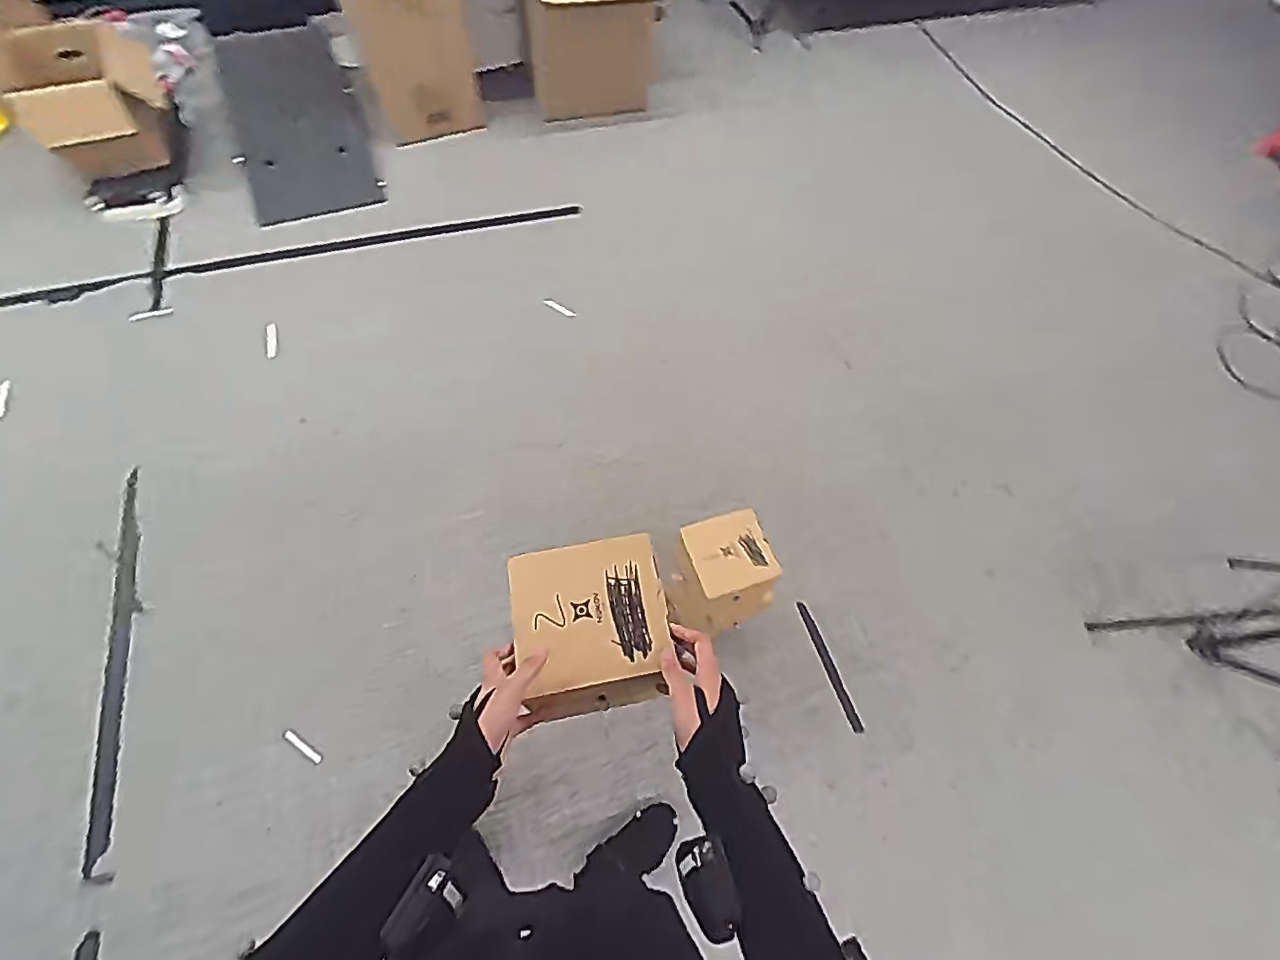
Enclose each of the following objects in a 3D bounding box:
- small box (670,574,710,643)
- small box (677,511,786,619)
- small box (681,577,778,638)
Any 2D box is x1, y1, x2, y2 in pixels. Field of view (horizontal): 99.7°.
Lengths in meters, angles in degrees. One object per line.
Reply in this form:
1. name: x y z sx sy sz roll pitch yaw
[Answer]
1. small box: 0.198 0.338 1.507 0.179 0.176 0.168 -18 66 -12
2. small box: 0.196 0.194 1.211 0.179 0.176 0.168 -15 64 -10
3. small box: 0.214 0.275 1.356 0.168 0.176 0.179 -18 66 -12
